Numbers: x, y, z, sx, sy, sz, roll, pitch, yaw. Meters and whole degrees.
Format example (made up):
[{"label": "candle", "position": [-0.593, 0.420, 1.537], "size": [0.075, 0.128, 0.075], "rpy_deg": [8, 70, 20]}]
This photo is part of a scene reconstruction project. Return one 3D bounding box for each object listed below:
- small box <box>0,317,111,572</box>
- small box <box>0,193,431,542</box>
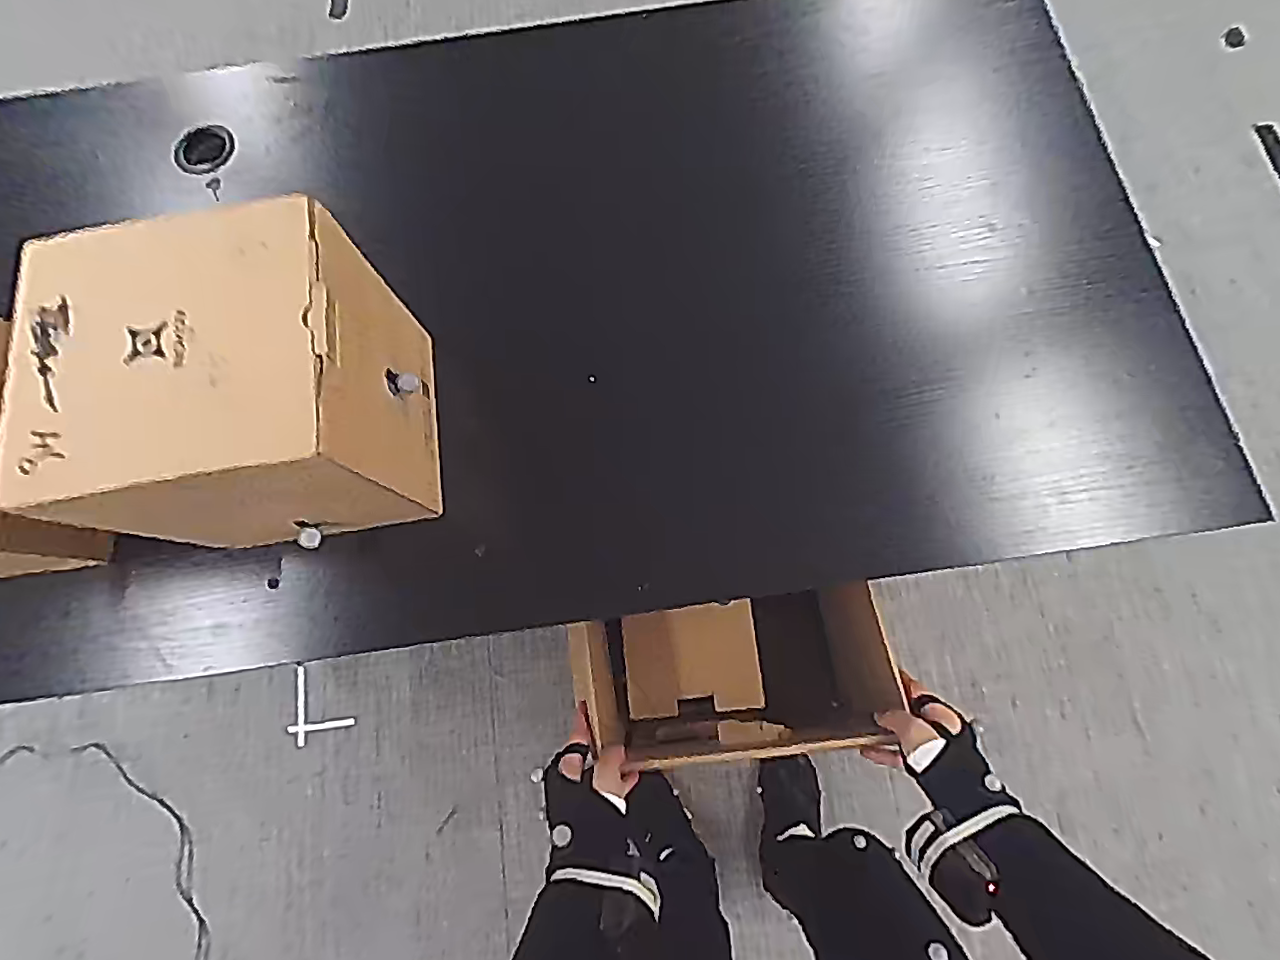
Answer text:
[{"label": "small box", "position": [-0.518, -0.023, 0.370], "size": [0.179, 0.176, 0.168], "rpy_deg": [-6, 76, -1]}, {"label": "small box", "position": [-0.257, -0.058, 0.372], "size": [0.179, 0.176, 0.168], "rpy_deg": [-9, 76, -1]}]
